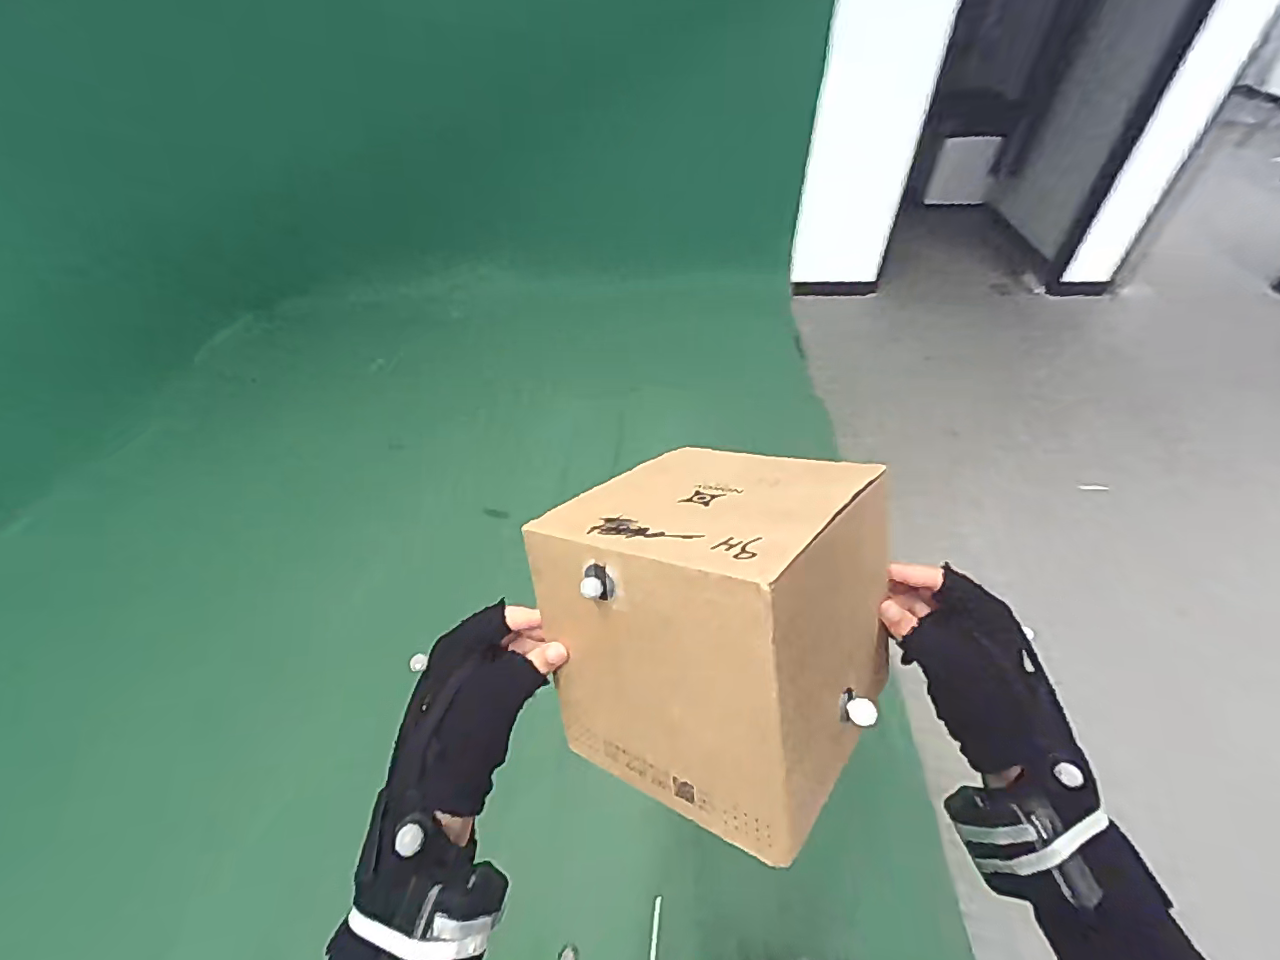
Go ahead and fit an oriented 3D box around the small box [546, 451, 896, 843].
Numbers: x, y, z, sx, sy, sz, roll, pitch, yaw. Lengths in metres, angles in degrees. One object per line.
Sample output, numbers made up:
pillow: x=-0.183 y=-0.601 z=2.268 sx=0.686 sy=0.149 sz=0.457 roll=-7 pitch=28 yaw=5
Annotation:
small box: x=0.062 y=0.087 z=0.372 sx=0.168 sy=0.176 sz=0.179 roll=7 pitch=22 yaw=40
